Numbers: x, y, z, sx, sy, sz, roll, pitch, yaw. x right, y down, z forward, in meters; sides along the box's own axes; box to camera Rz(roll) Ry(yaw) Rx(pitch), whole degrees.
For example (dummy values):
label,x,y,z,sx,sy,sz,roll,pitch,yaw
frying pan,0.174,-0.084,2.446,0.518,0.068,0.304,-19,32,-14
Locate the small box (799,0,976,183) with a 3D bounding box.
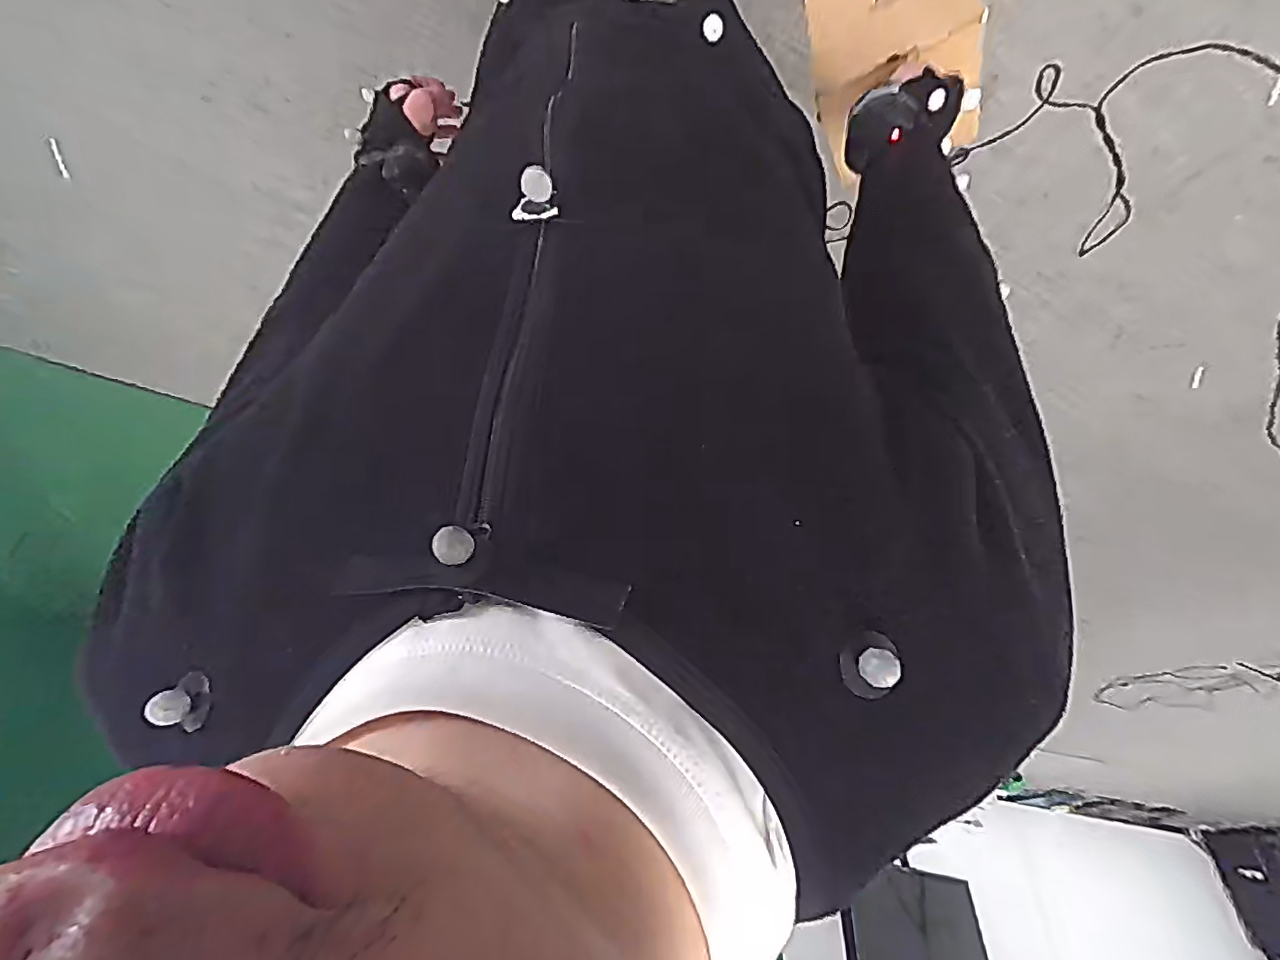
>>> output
label,x,y,z,sx,sy,sz,roll,pitch,yaw
small box,0.308,-0.505,0.668,0.168,0.179,0.176,-10,164,30
